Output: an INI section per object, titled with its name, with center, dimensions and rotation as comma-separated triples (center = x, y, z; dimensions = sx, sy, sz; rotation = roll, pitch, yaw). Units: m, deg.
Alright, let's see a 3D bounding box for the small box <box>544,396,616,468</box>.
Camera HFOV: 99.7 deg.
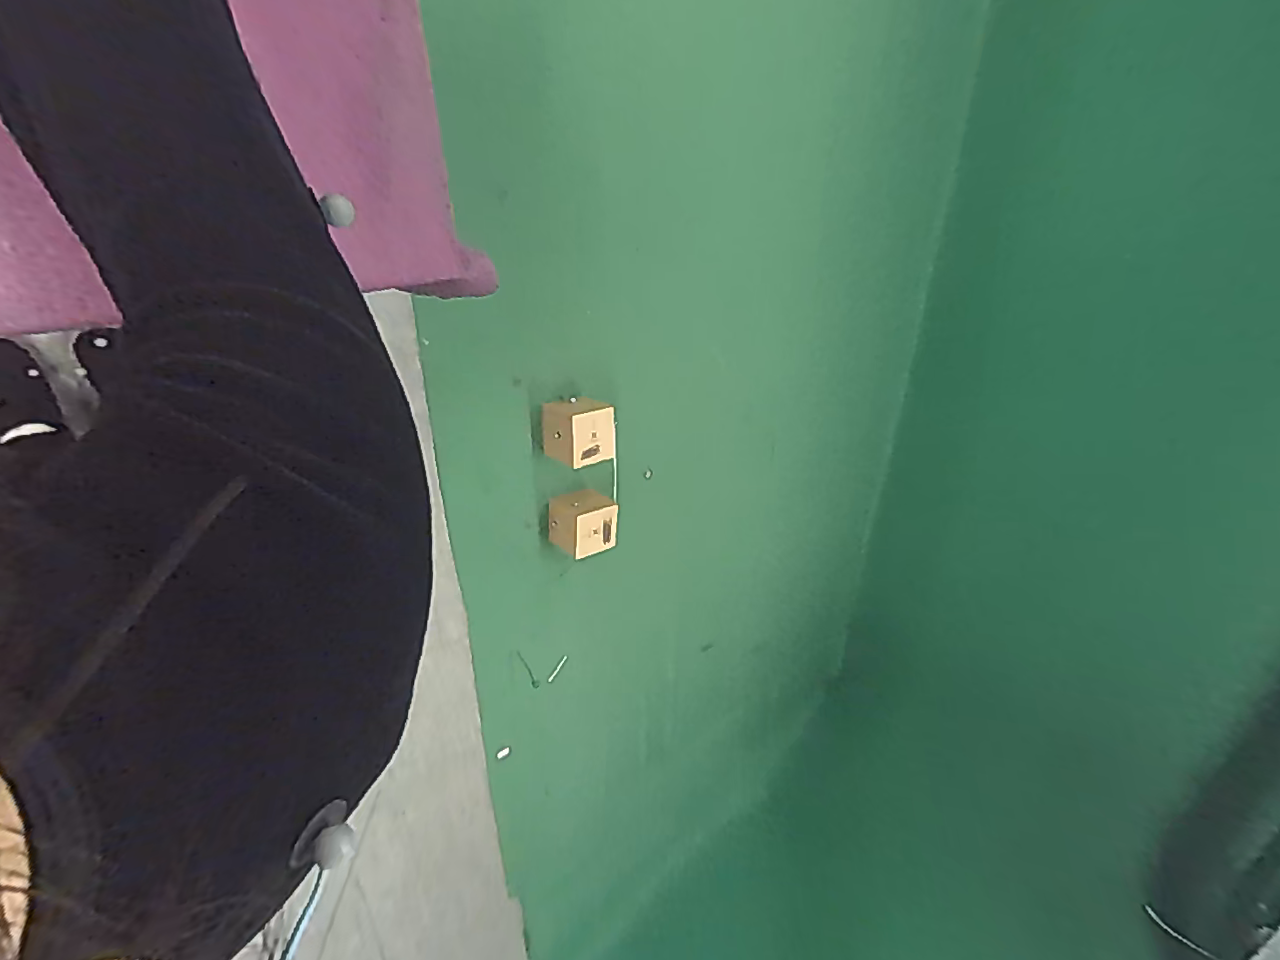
[small box]
center = -0.195, -0.159, 1.741
dimensions = 0.168, 0.176, 0.179
rotation = -19, 120, -38
